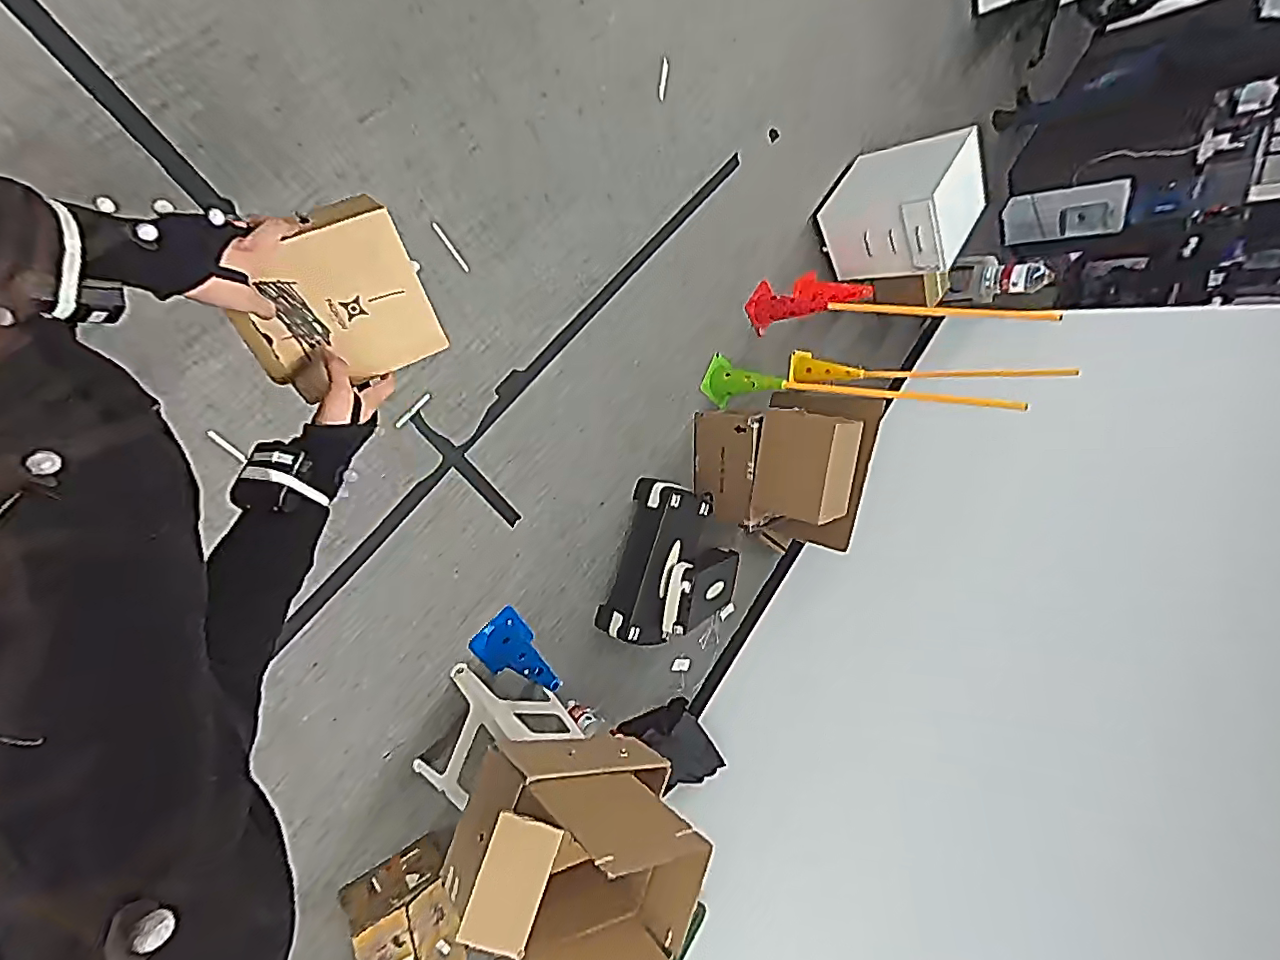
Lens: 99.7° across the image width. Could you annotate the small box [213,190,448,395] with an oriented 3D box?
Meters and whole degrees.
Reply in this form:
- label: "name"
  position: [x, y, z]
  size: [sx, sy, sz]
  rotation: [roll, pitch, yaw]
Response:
- label: "small box"
  position: [-0.363, -0.232, 0.651]
  size: [0.179, 0.176, 0.168]
  rotation: [-30, 131, -17]
